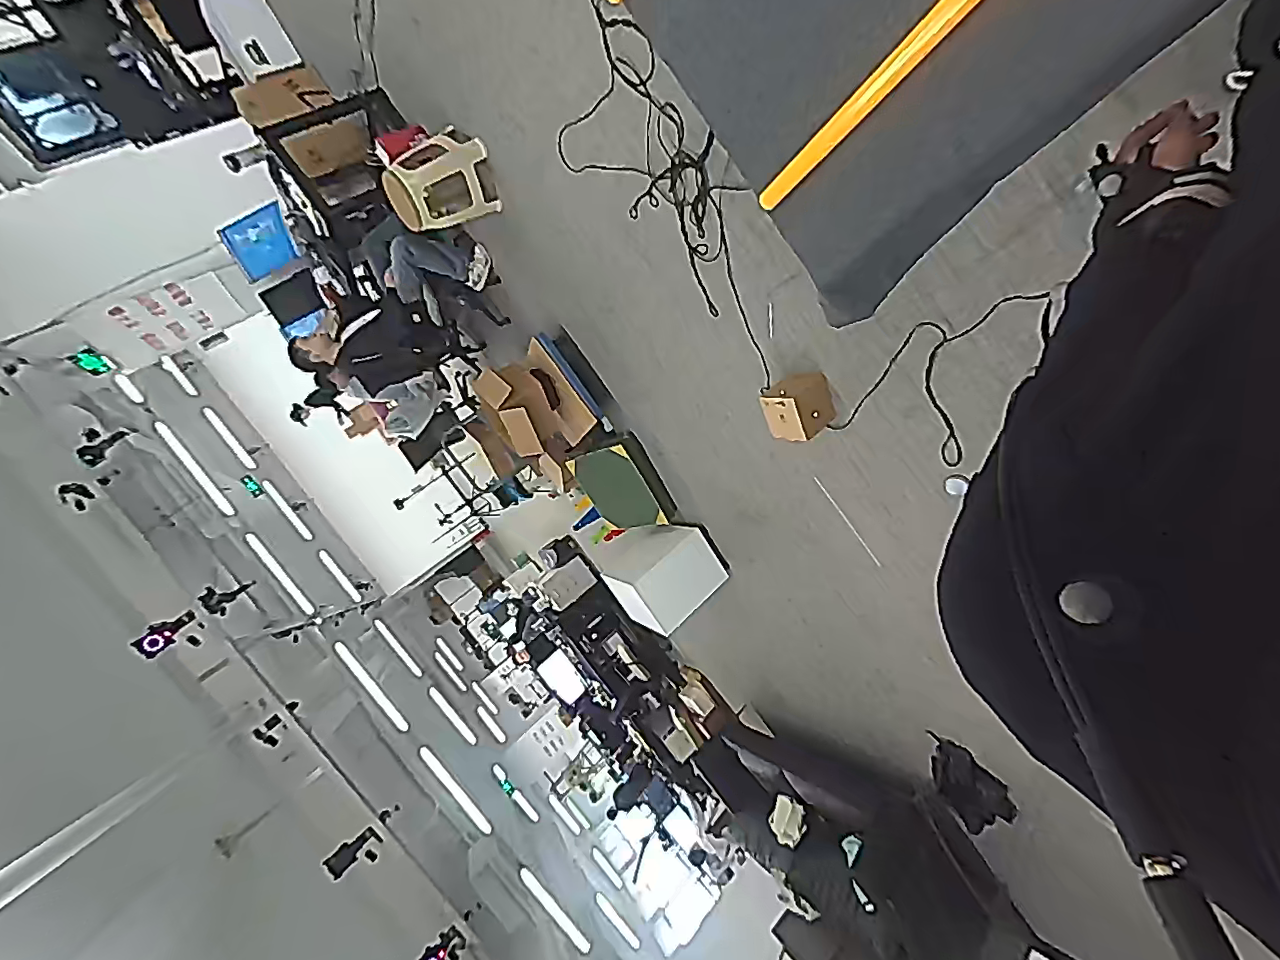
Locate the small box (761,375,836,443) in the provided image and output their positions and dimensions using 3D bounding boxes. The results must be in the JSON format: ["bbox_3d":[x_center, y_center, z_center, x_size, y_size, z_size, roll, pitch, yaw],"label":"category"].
[{"bbox_3d":[0.572,-0.256,1.931,0.168,0.176,0.179,17,139,56],"label":"small box"}]
